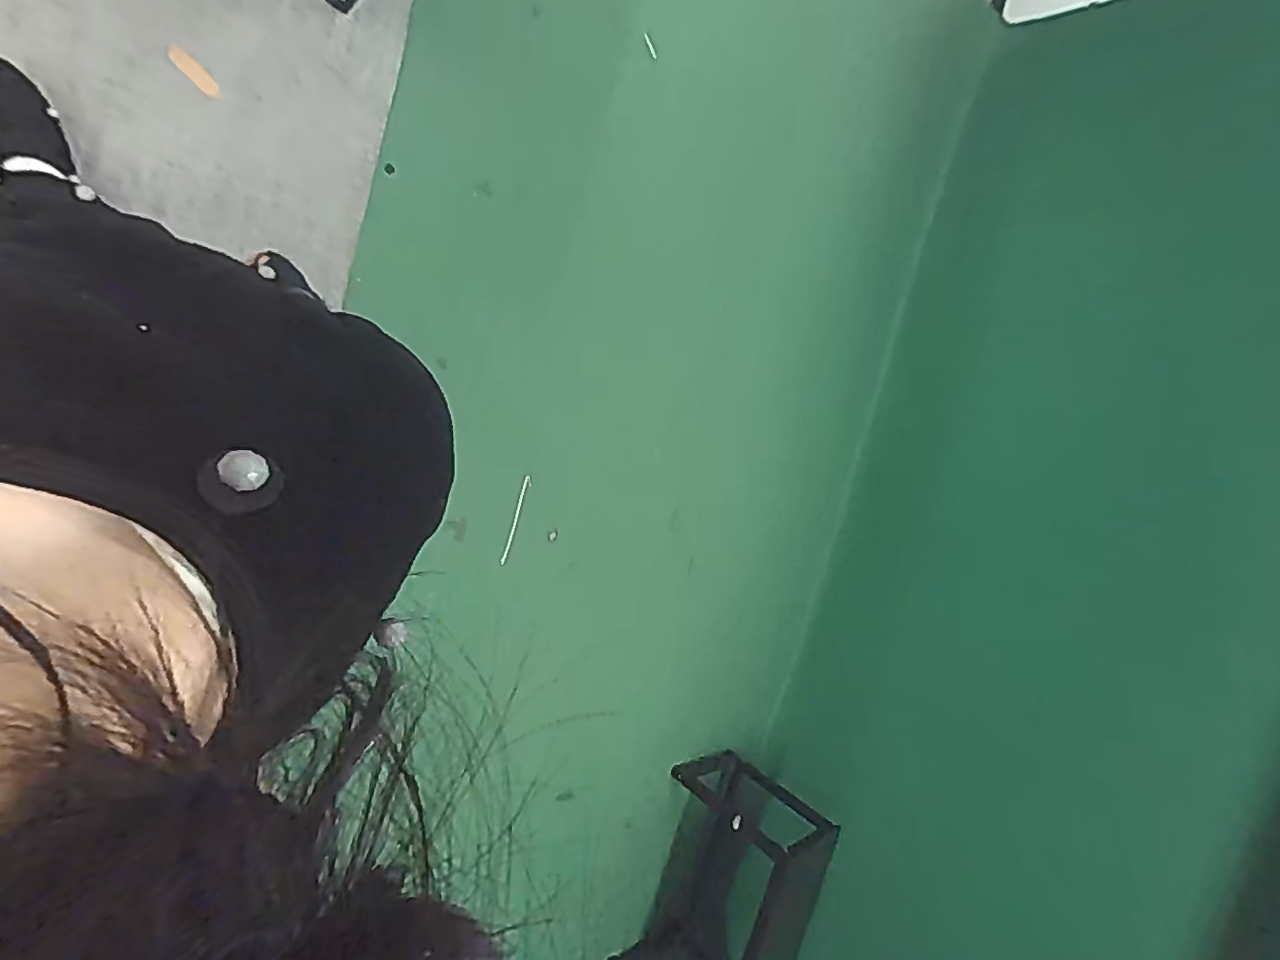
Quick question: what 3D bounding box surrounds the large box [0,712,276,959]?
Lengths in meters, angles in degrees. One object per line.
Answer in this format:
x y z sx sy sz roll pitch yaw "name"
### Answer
-1.094 0.800 1.206 0.408 0.320 0.320 -8 111 -44 "large box"
